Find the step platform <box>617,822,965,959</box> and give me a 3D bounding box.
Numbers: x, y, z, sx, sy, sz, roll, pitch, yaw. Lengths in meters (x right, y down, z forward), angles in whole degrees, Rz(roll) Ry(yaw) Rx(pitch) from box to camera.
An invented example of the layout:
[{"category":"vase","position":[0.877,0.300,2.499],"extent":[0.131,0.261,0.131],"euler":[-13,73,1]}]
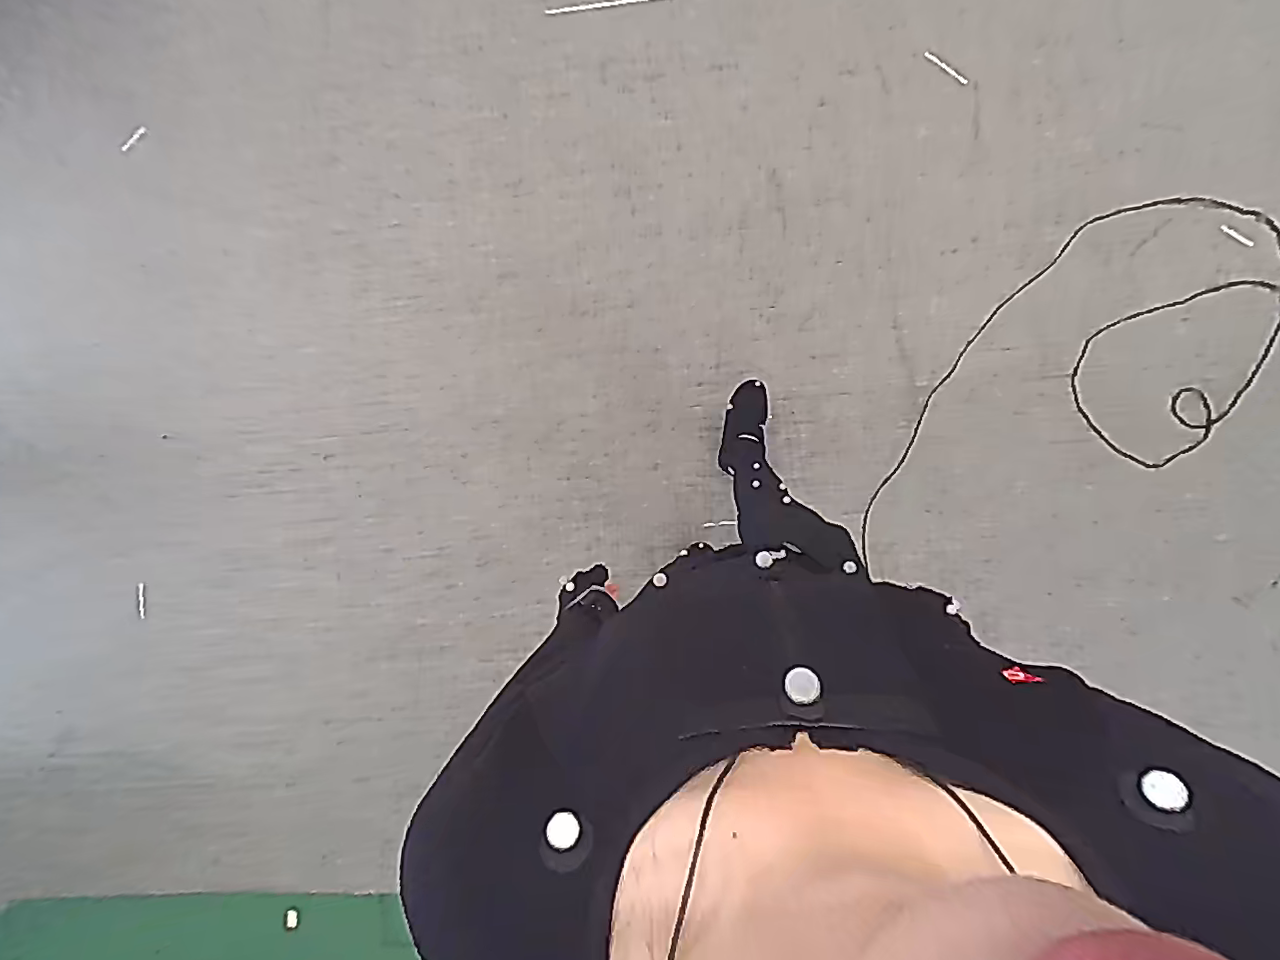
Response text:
[{"category":"step platform","position":[0.299,0.937,1.163],"extent":[0.684,0.204,0.286],"euler":[-4,88,3]}]
